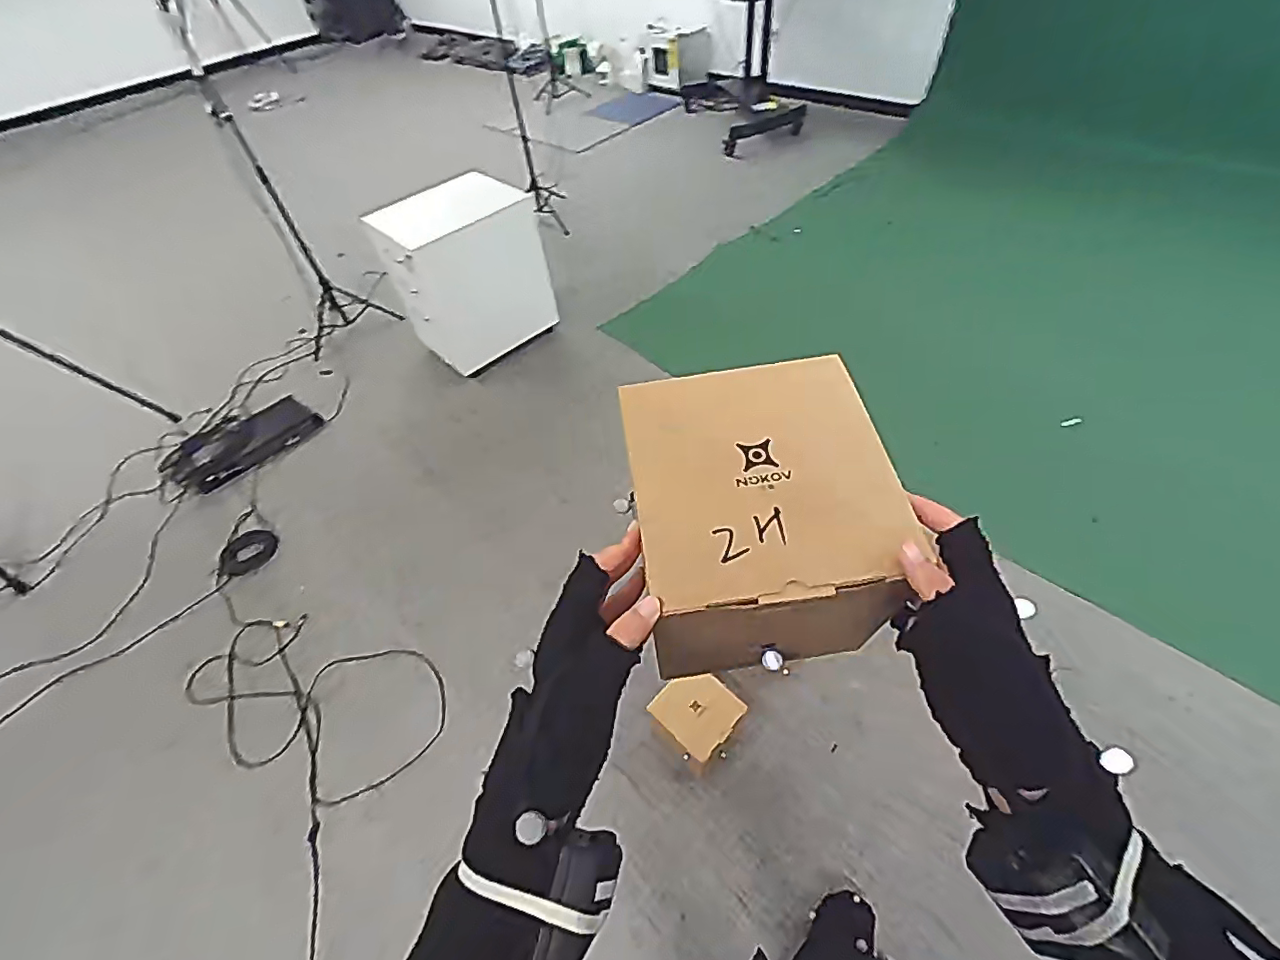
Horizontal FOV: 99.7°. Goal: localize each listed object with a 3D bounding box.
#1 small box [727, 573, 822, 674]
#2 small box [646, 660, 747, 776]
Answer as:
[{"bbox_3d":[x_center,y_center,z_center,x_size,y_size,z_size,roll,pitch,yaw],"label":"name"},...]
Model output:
[{"bbox_3d":[0.350,0.389,1.434,0.168,0.176,0.179,-34,54,-21],"label":"small box"},{"bbox_3d":[0.135,0.577,1.302,0.179,0.176,0.168,35,62,29],"label":"small box"}]
